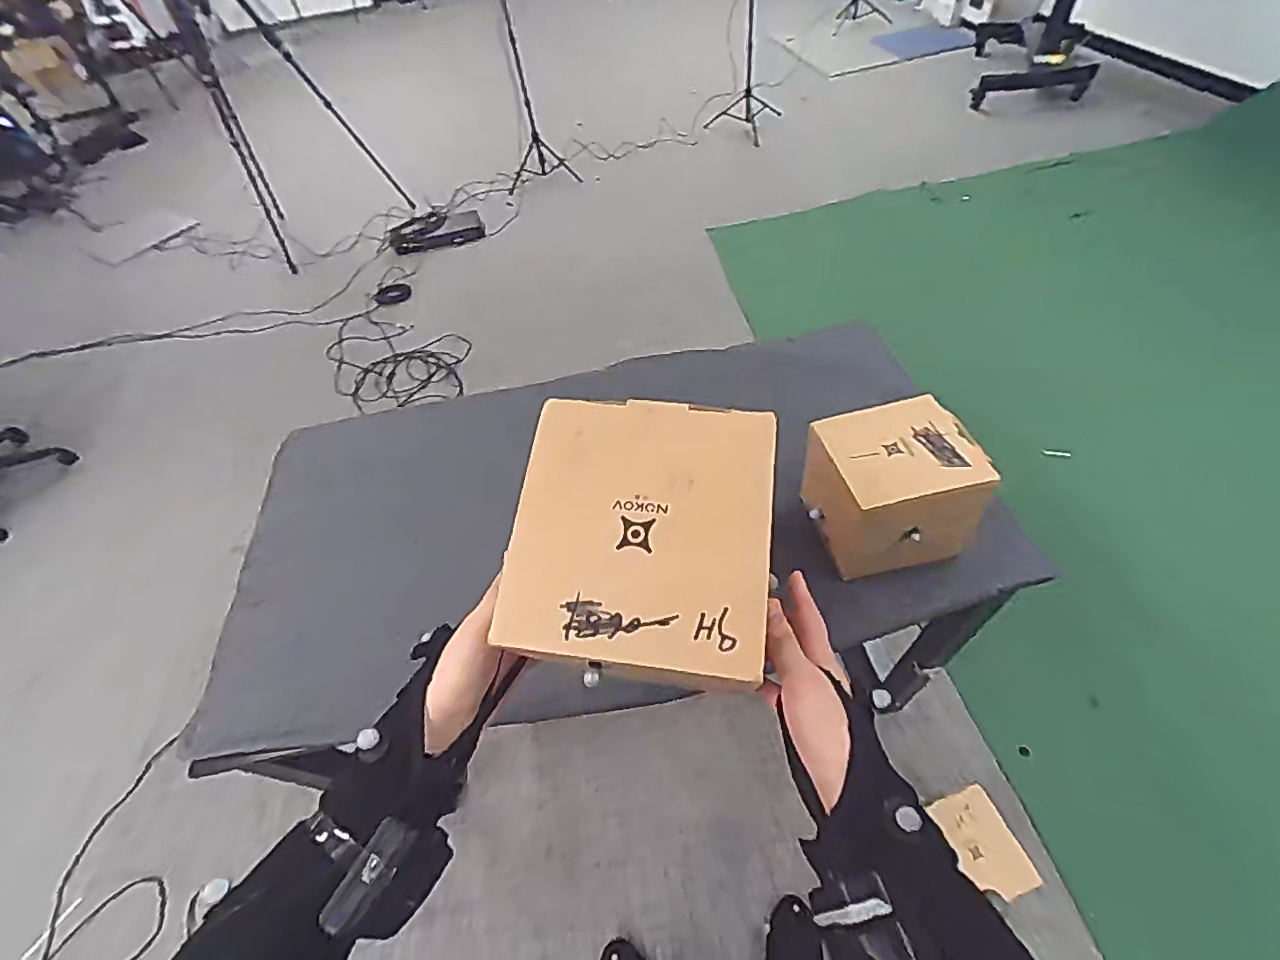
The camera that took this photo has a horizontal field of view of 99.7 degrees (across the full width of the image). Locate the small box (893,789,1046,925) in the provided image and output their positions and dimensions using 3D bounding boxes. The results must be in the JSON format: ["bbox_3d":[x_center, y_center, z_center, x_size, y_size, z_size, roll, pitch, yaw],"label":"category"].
[{"bbox_3d":[0.642,0.748,1.079,0.168,0.176,0.179,-19,52,-7],"label":"small box"}]

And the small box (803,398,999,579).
[{"bbox_3d":[0.344,0.016,0.756,0.179,0.176,0.168,-13,48,0],"label":"small box"}]

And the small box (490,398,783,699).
[{"bbox_3d":[0.012,0.060,0.414,0.168,0.176,0.179,5,67,11],"label":"small box"}]
